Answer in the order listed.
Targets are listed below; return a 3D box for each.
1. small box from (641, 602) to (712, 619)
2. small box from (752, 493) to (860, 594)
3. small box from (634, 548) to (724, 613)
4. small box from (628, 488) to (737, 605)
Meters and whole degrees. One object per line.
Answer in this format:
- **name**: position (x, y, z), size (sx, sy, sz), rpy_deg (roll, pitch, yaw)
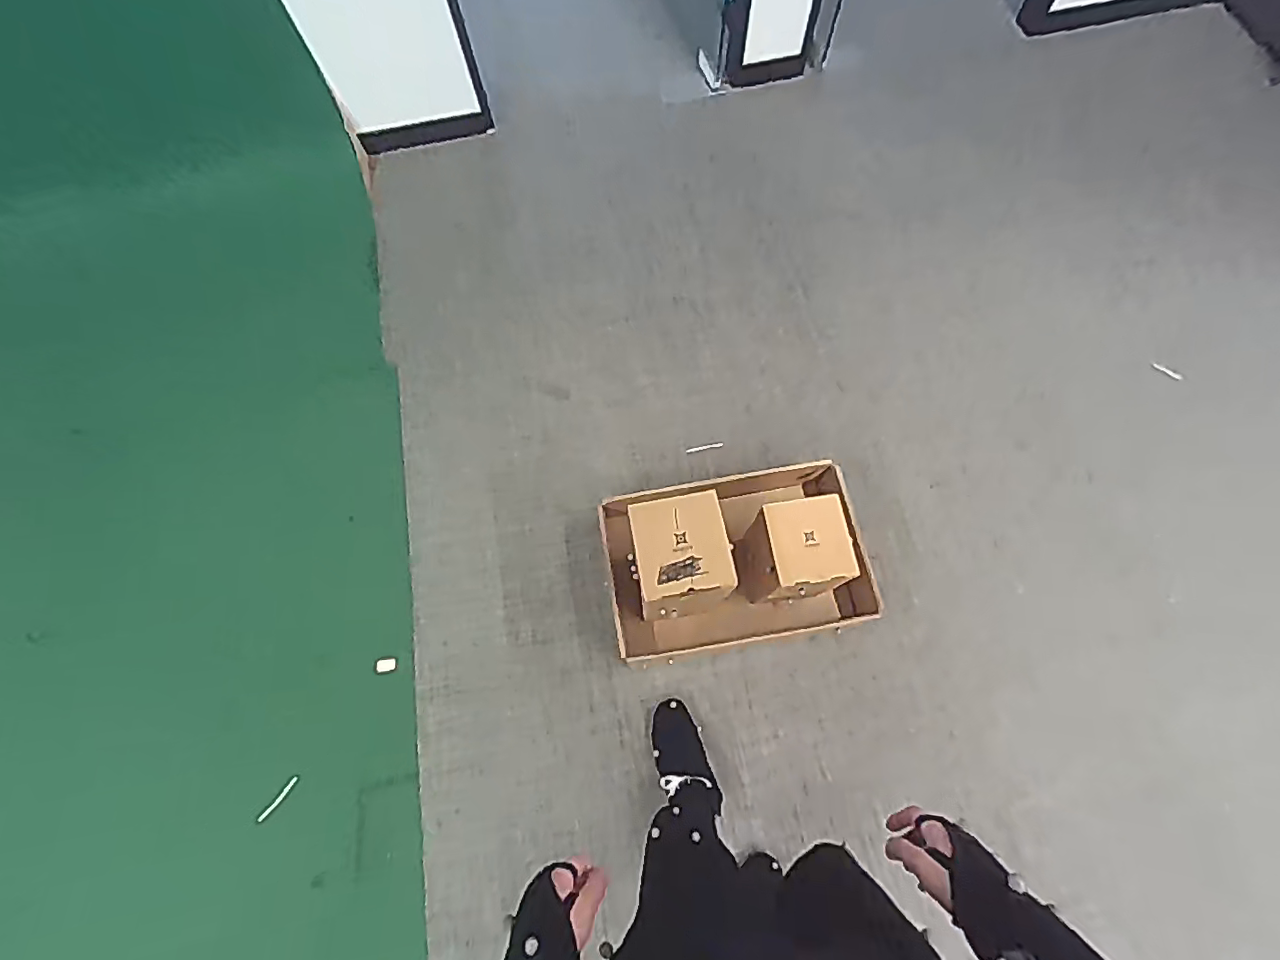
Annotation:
- **small box**: position (0.078, 0.235, 1.324), size (0.168, 0.176, 0.179), rpy_deg (-8, 70, -1)
- **small box**: position (0.350, 0.143, 1.180), size (0.168, 0.176, 0.179), rpy_deg (-8, 72, -1)
- **small box**: position (0.076, 0.184, 1.170), size (0.168, 0.176, 0.179), rpy_deg (-7, 71, -2)
- **small box**: position (0.074, 0.133, 1.014), size (0.168, 0.176, 0.179), rpy_deg (-9, 70, -2)
